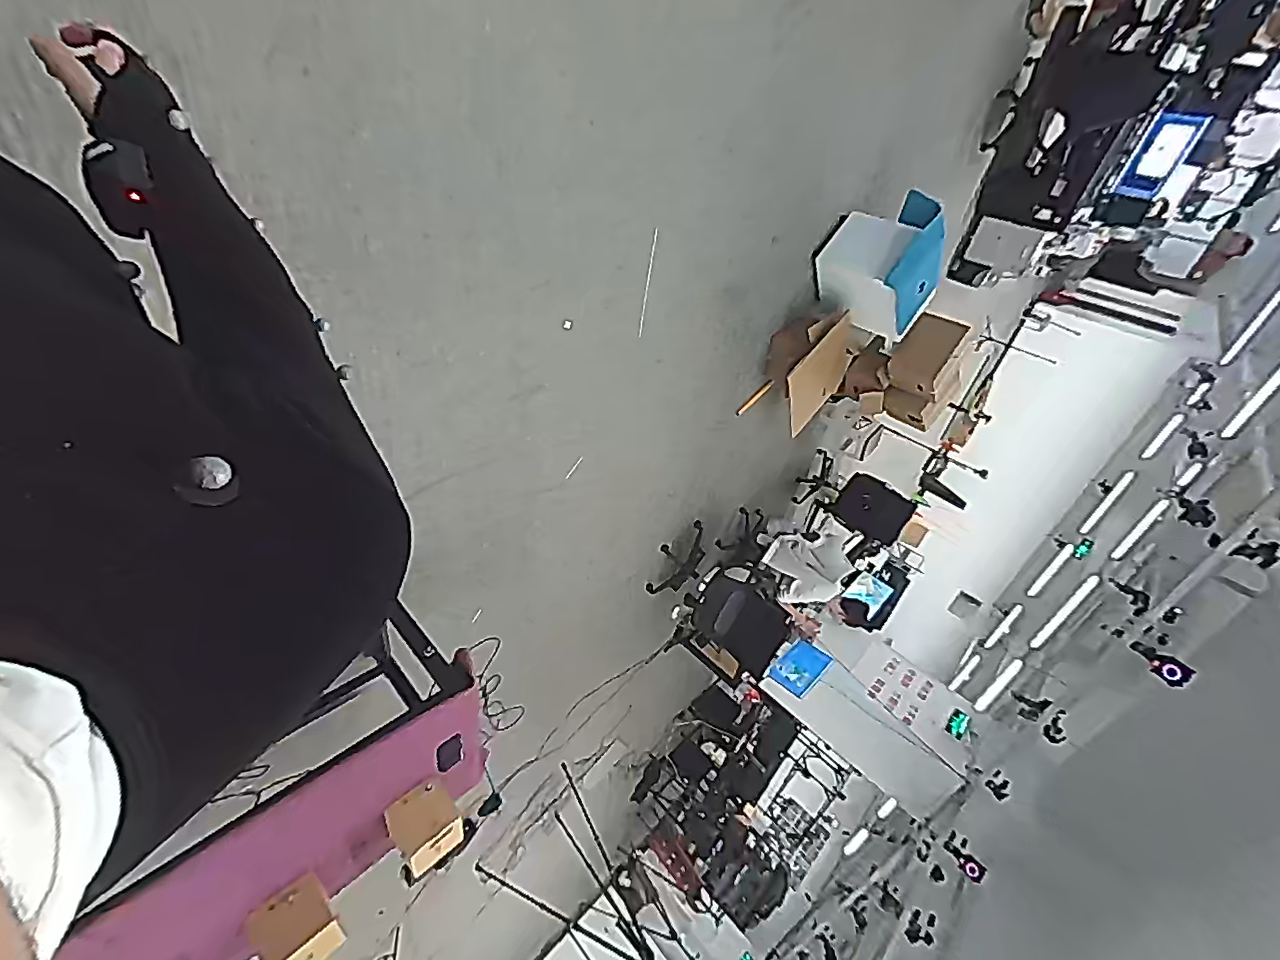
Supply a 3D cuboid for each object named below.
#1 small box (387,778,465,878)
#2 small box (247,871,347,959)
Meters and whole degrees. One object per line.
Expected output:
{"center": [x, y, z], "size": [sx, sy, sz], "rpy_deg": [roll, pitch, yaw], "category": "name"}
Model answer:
{"center": [-0.663, 1.067, 1.673], "size": [0.168, 0.176, 0.179], "rpy_deg": [-26, 140, -39], "category": "small box"}
{"center": [-0.921, 1.210, 1.457], "size": [0.168, 0.176, 0.179], "rpy_deg": [-27, 139, -40], "category": "small box"}
